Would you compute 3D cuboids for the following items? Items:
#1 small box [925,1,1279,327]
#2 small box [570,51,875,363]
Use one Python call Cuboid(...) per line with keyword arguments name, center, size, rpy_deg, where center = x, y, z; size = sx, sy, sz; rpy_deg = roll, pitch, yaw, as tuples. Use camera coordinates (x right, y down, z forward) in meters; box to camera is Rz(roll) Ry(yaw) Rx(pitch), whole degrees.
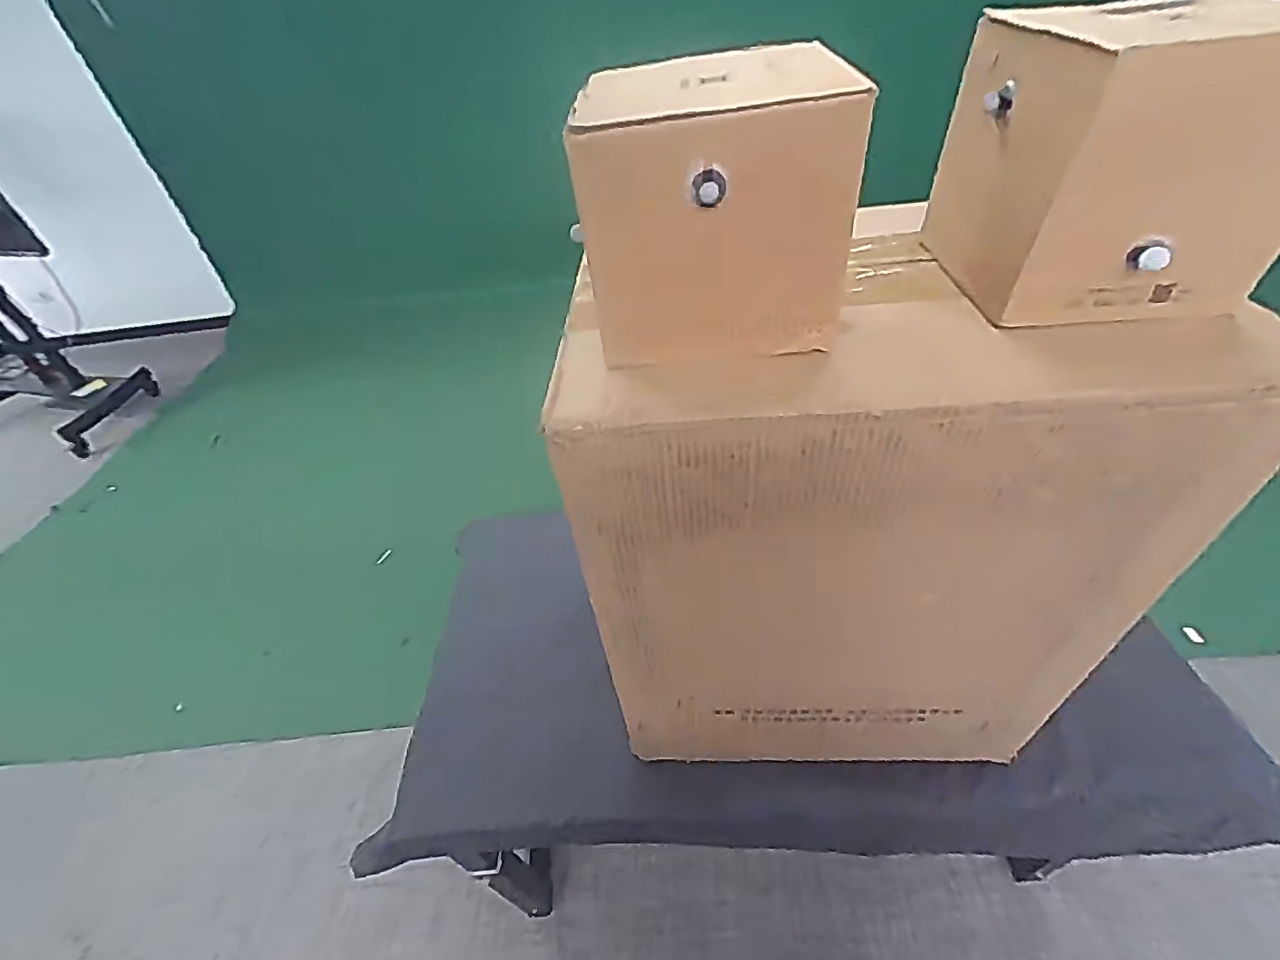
Cuboid(name="small box", center=(0.341, -0.231, 0.401), size=(0.168, 0.176, 0.179), rpy_deg=(-2, 46, 4))
Cuboid(name="small box", center=(0.055, -0.203, 0.415), size=(0.179, 0.176, 0.168), rpy_deg=(-2, 47, 4))
